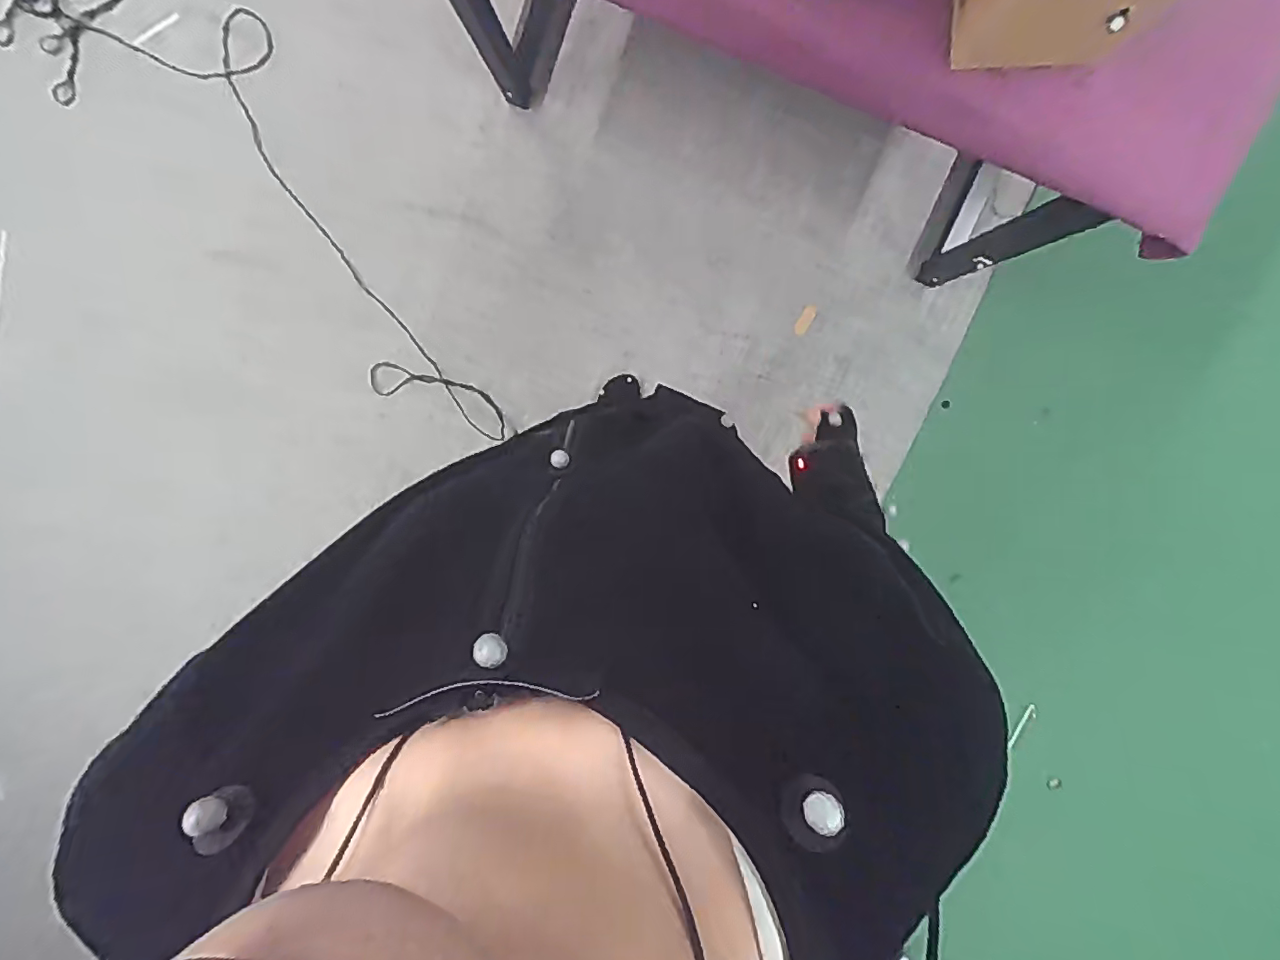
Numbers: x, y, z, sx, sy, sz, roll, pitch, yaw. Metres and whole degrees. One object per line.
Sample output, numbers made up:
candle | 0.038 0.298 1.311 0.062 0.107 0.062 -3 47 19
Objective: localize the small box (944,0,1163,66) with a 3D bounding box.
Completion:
small box | 0.458 -0.576 0.571 0.179 0.176 0.168 0 98 3
